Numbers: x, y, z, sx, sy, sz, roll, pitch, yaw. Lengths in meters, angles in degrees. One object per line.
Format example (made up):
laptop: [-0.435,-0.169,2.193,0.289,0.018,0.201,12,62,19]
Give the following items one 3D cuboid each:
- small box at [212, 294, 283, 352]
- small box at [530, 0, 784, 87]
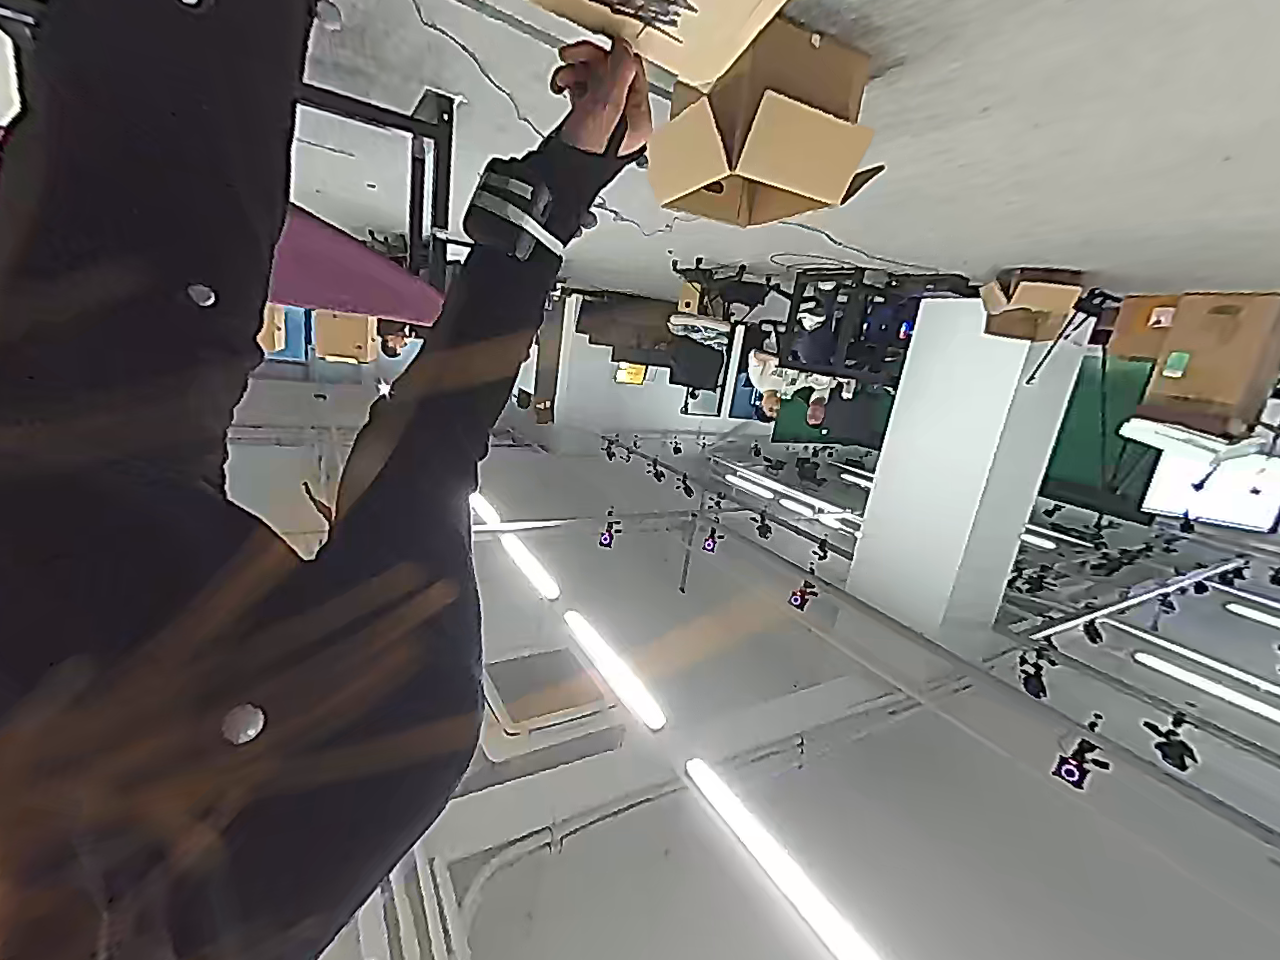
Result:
small box: [-1.329,-0.536,1.838,0.168,0.176,0.179,1,-163,-24]
small box: [0.028,-0.423,0.352,0.168,0.176,0.179,1,174,-31]
